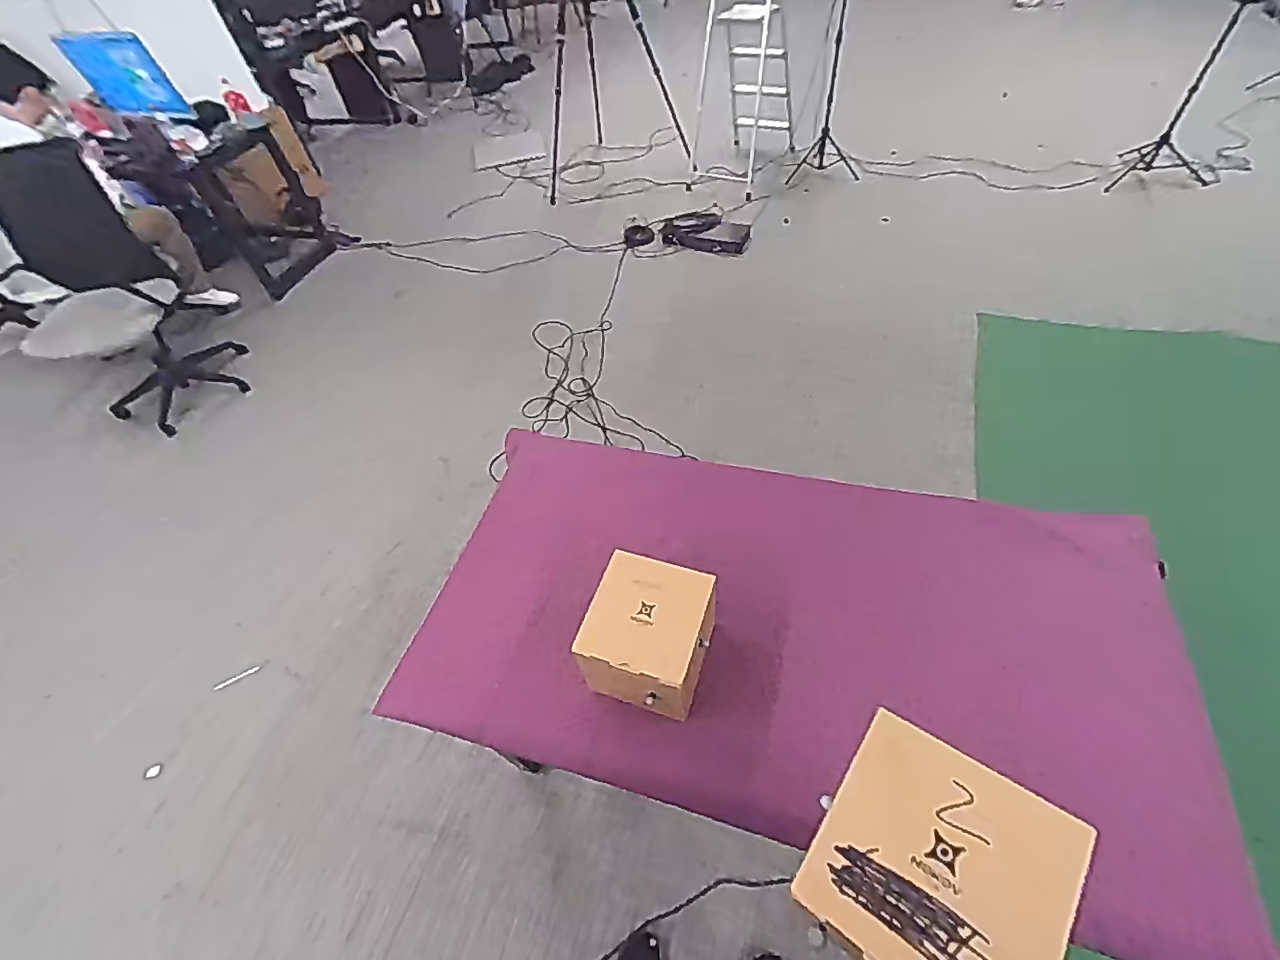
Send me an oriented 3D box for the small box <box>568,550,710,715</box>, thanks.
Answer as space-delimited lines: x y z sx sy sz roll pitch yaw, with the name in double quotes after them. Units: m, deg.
0.009 0.243 0.852 0.168 0.176 0.179 14 54 16 "small box"
